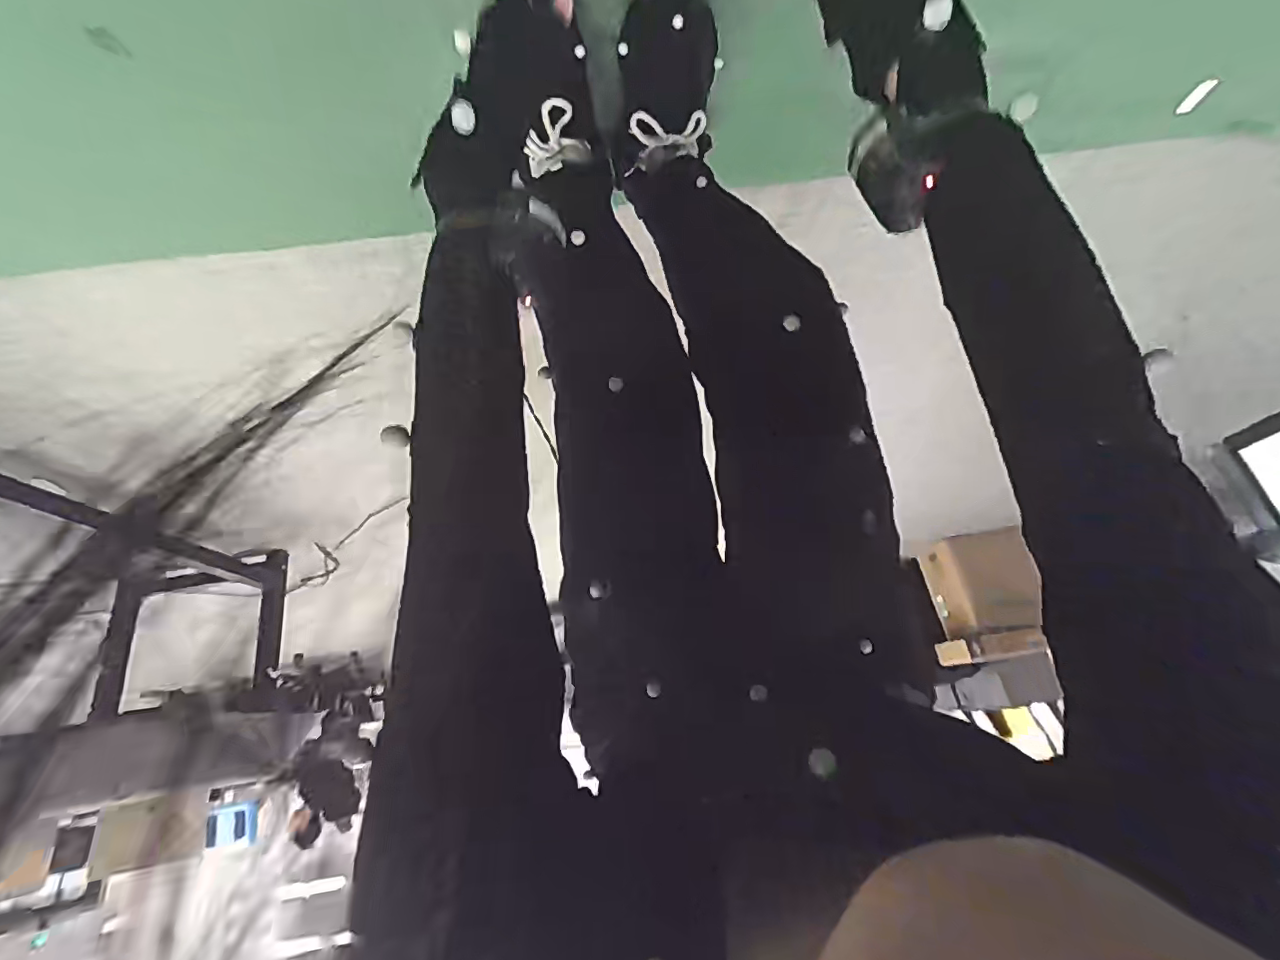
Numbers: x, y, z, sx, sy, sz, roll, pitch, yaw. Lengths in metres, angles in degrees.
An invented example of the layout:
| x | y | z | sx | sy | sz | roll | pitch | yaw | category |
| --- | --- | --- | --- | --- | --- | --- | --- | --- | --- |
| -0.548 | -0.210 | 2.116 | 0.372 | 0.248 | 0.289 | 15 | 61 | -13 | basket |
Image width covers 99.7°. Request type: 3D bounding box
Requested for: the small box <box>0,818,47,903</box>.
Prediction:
| x | y | z | sx | sy | sz | roll | pitch | yaw | category |
| --- | --- | --- | --- | --- | --- | --- | --- | --- | --- |
| -1.598 | 0.928 | 1.287 | 0.168 | 0.176 | 0.179 | -10 | 157 | -4 | small box |

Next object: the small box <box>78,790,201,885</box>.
| x | y | z | sx | sy | sz | roll | pitch | yaw | category |
| --- | --- | --- | --- | --- | --- | --- | --- | --- | --- |
| -1.333 | 0.951 | 1.454 | 0.168 | 0.176 | 0.179 | -7 | 157 | -5 | small box |
